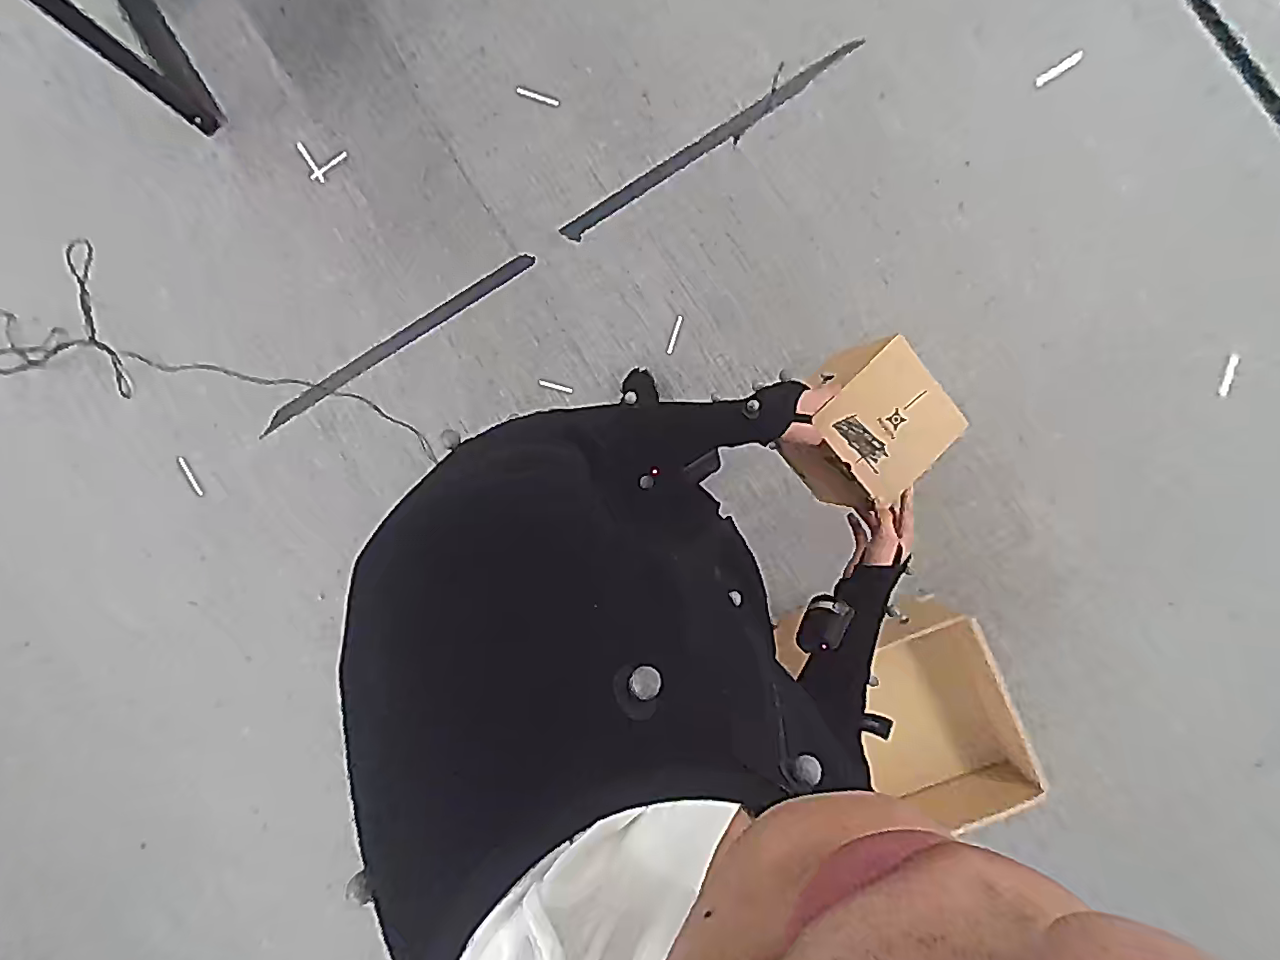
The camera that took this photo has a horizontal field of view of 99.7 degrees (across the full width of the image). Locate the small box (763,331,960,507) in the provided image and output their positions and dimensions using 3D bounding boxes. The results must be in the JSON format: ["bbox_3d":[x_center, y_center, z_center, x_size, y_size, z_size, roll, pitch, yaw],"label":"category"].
[{"bbox_3d":[0.304,-0.082,0.788,0.179,0.176,0.168,-44,100,-7],"label":"small box"}]
